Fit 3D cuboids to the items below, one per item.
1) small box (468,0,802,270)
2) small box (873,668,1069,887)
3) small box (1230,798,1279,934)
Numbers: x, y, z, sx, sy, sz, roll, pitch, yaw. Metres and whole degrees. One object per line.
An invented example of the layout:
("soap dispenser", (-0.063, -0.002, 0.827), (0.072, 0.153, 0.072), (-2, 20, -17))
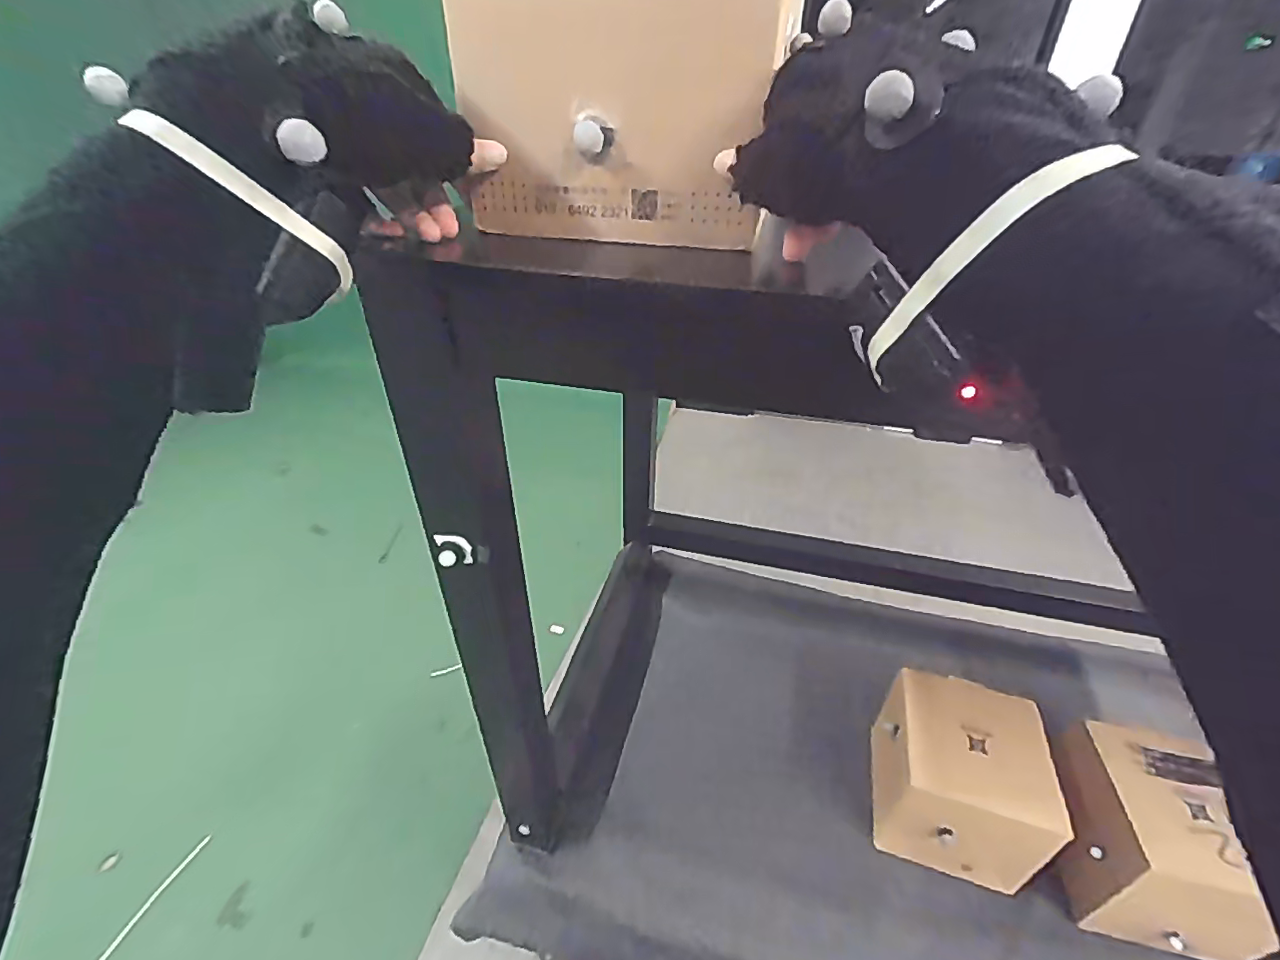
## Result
("small box", (0.006, -0.242, 0.332), (0.168, 0.176, 0.179), (8, 36, 10))
("small box", (0.415, 0.390, 0.715), (0.168, 0.176, 0.179), (11, 35, 15))
("small box", (0.839, 0.472, 0.594), (0.168, 0.176, 0.179), (8, 34, 10))
